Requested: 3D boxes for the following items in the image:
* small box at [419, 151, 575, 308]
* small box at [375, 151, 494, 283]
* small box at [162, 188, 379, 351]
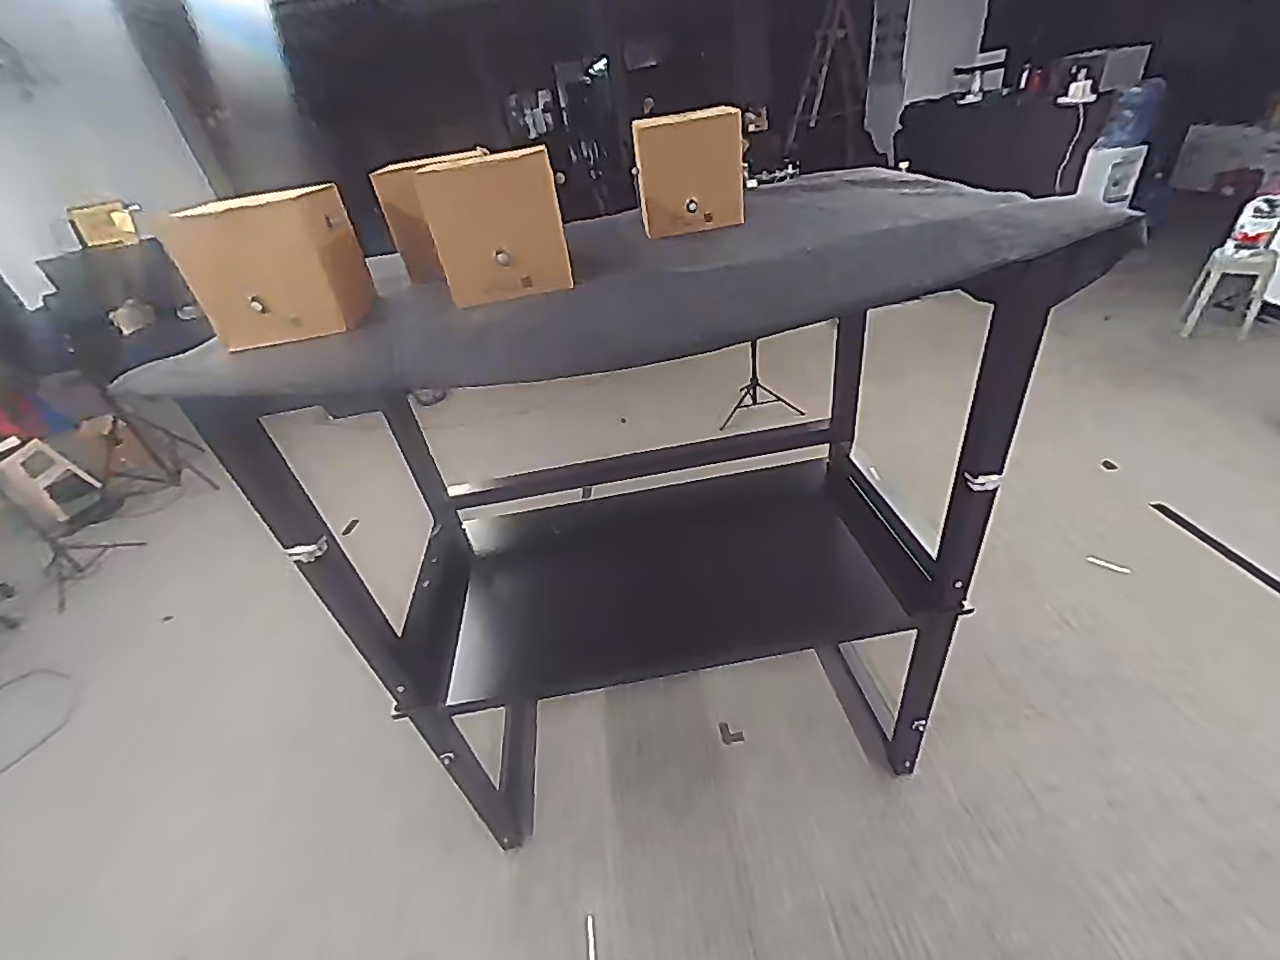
[{"bbox_3d":[-0.191,-0.360,0.775,0.168,0.176,0.179,-11,35,-2],"label":"small box"},{"bbox_3d":[-0.328,-0.461,0.948,0.179,0.176,0.168,-12,36,-4],"label":"small box"},{"bbox_3d":[-0.490,-0.296,0.756,0.168,0.176,0.179,-11,35,-4],"label":"small box"}]
